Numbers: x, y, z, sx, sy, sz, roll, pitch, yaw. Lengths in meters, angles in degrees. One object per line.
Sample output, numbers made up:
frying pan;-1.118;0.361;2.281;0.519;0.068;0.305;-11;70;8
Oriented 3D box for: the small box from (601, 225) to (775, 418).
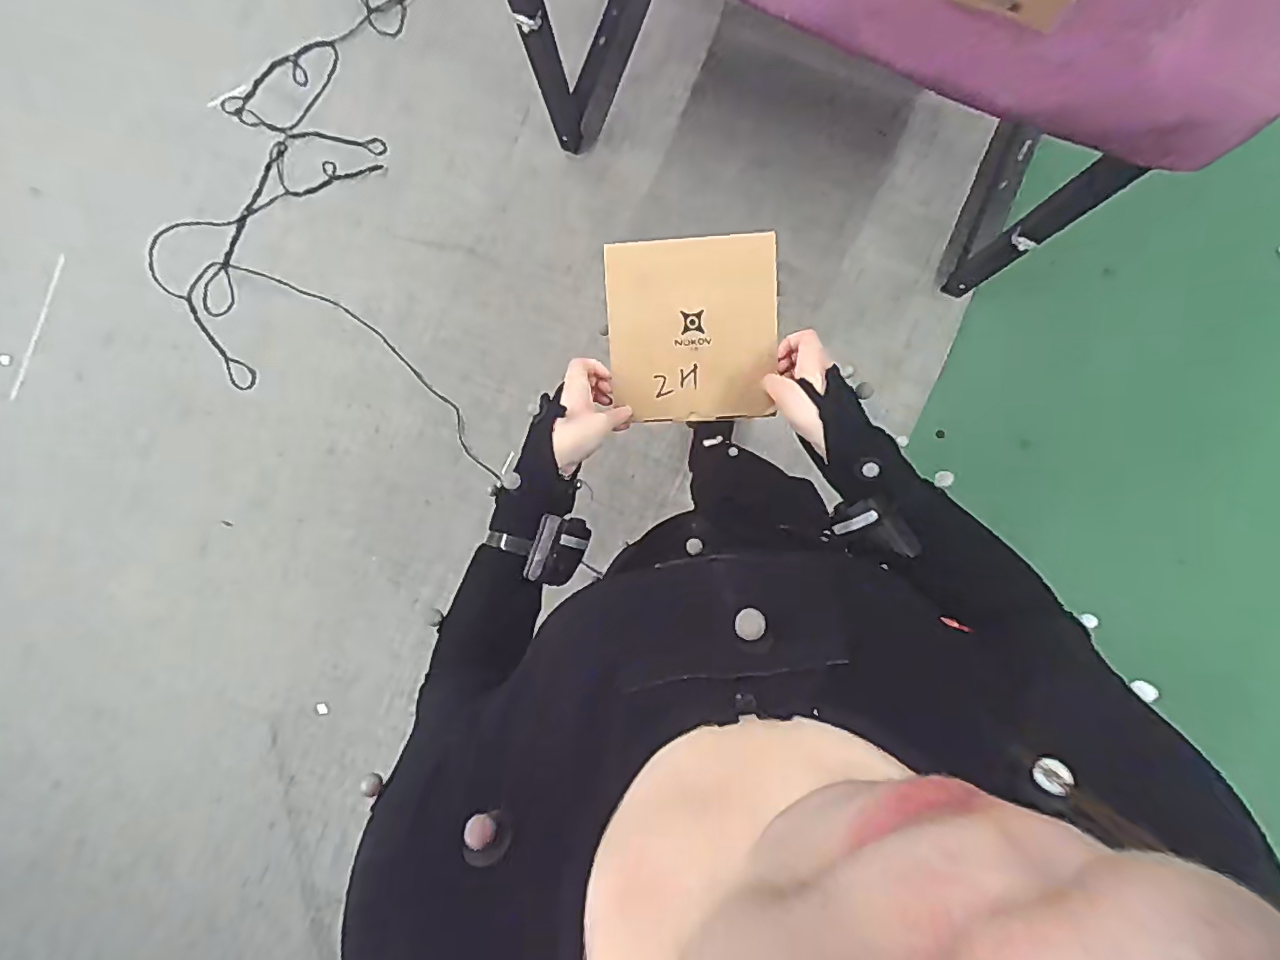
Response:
small box;0.052;-0.161;0.596;0.168;0.176;0.179;-2;100;5
